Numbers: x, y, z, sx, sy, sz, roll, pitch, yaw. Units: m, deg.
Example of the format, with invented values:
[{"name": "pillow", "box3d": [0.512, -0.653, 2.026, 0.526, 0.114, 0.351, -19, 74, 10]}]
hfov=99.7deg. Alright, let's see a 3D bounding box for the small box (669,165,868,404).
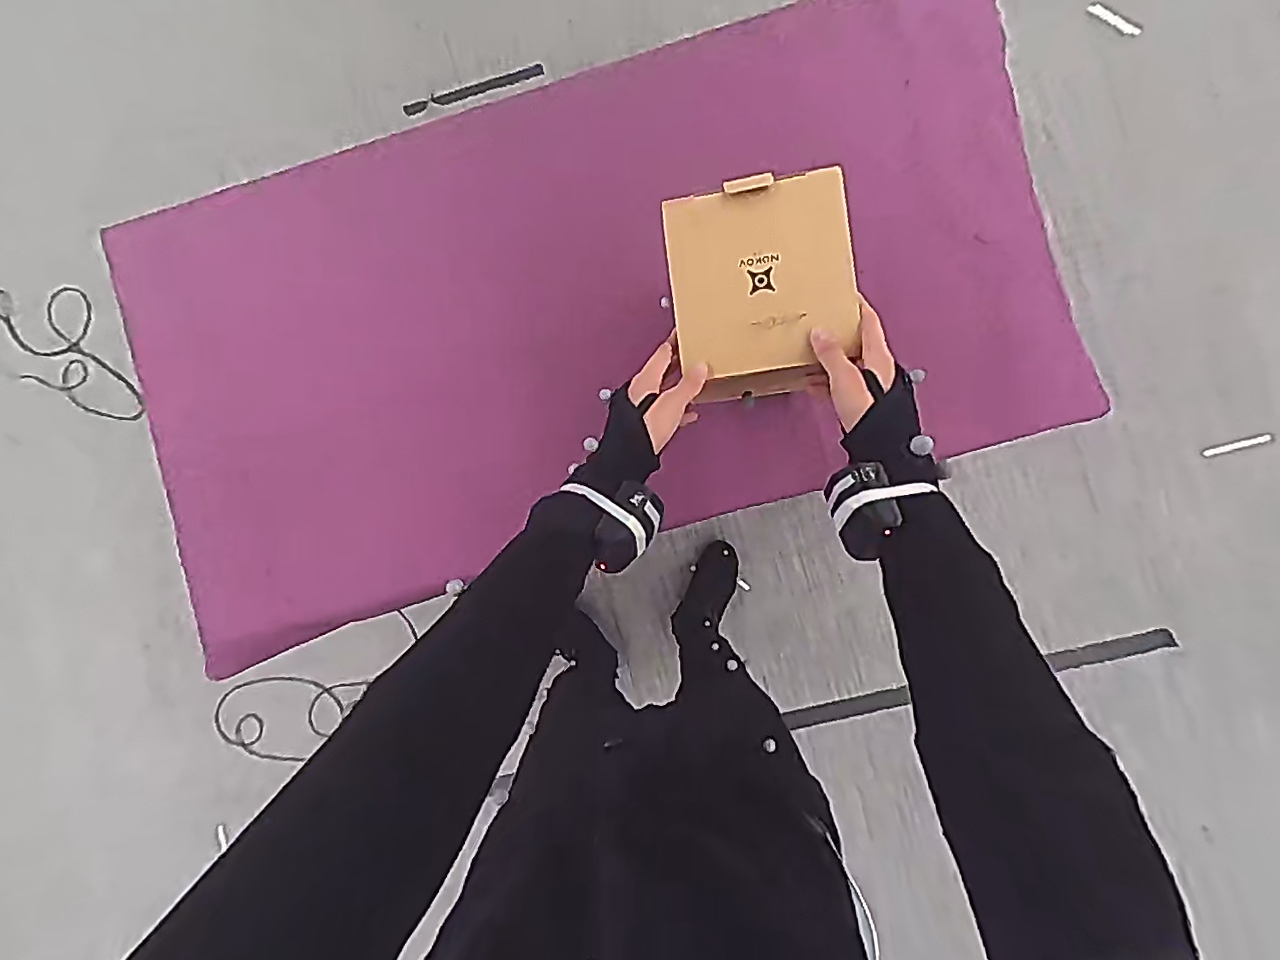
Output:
[{"name": "small box", "box3d": [0.124, -0.185, 0.565, 0.168, 0.176, 0.179, -6, 90, 9]}]
